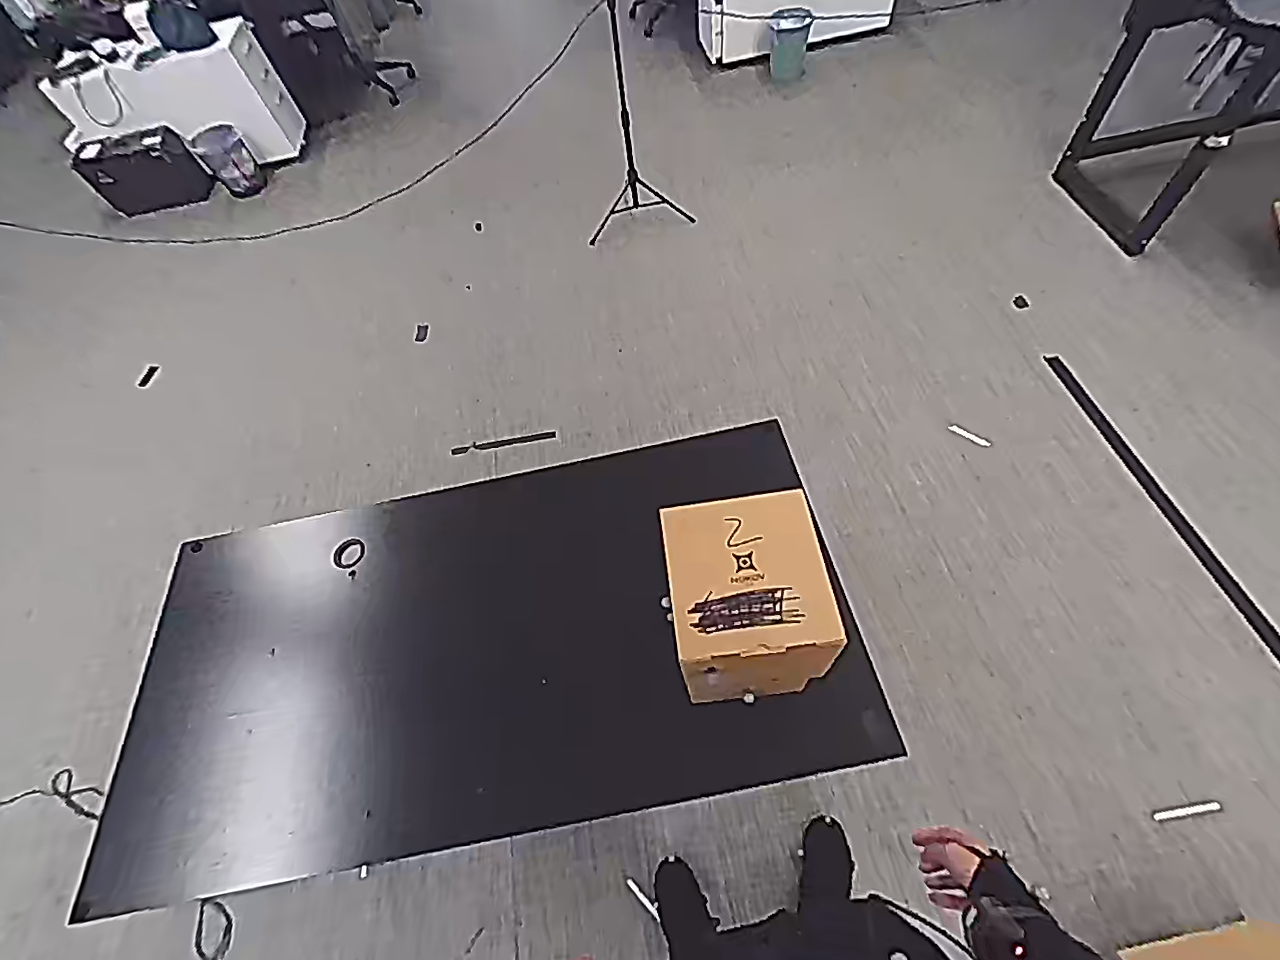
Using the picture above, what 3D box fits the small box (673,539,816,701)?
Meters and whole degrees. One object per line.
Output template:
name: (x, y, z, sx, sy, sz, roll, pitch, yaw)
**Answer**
small box: (0.140, 0.206, 0.778, 0.168, 0.176, 0.179, -8, 58, 4)
